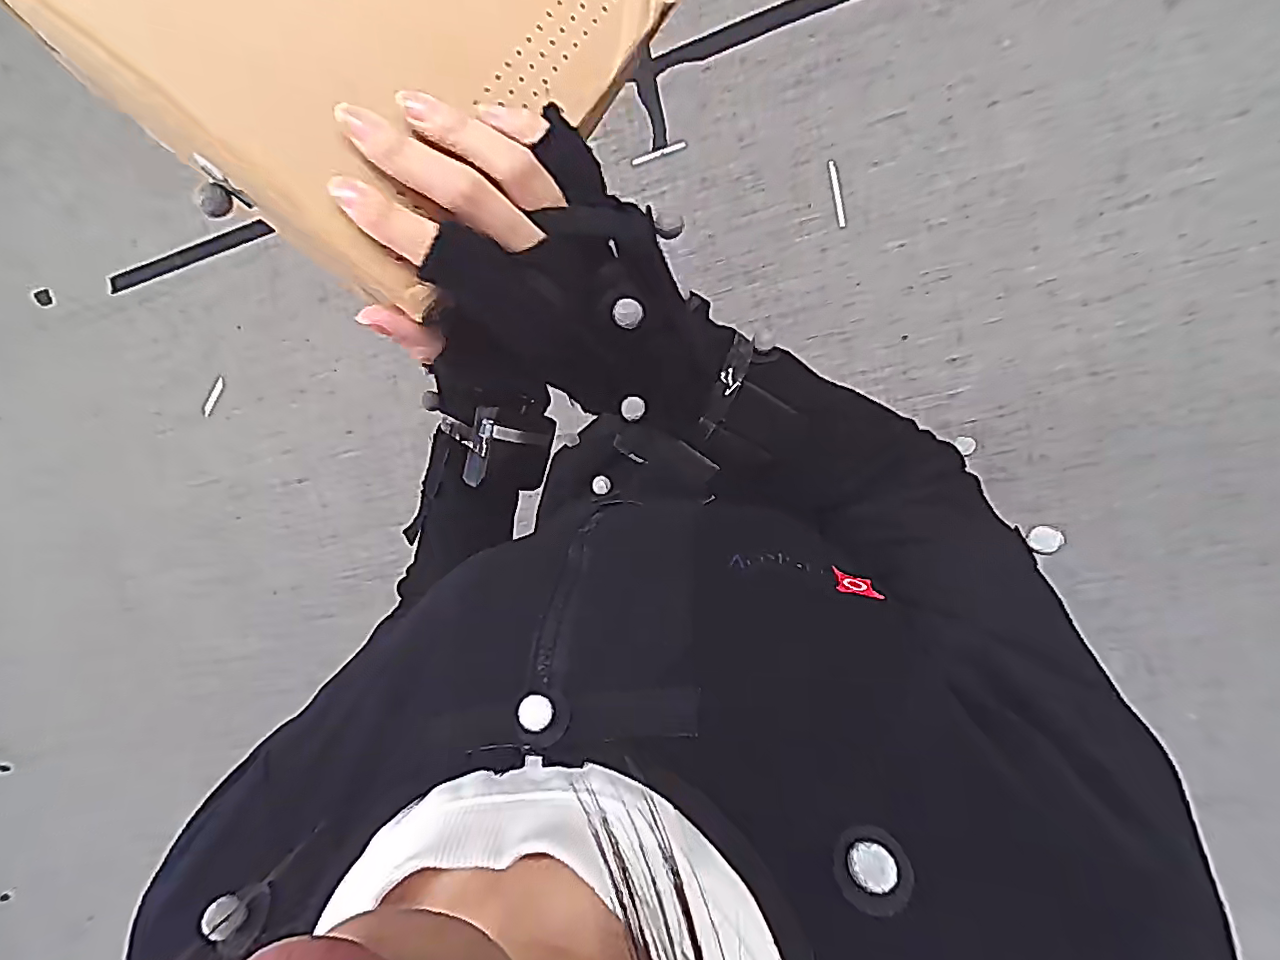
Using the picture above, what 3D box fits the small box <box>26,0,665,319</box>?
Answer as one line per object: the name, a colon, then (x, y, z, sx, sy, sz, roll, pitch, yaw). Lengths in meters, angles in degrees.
small box: (-0.118, -0.199, 0.273, 0.176, 0.168, 0.179, 39, 86, -22)
